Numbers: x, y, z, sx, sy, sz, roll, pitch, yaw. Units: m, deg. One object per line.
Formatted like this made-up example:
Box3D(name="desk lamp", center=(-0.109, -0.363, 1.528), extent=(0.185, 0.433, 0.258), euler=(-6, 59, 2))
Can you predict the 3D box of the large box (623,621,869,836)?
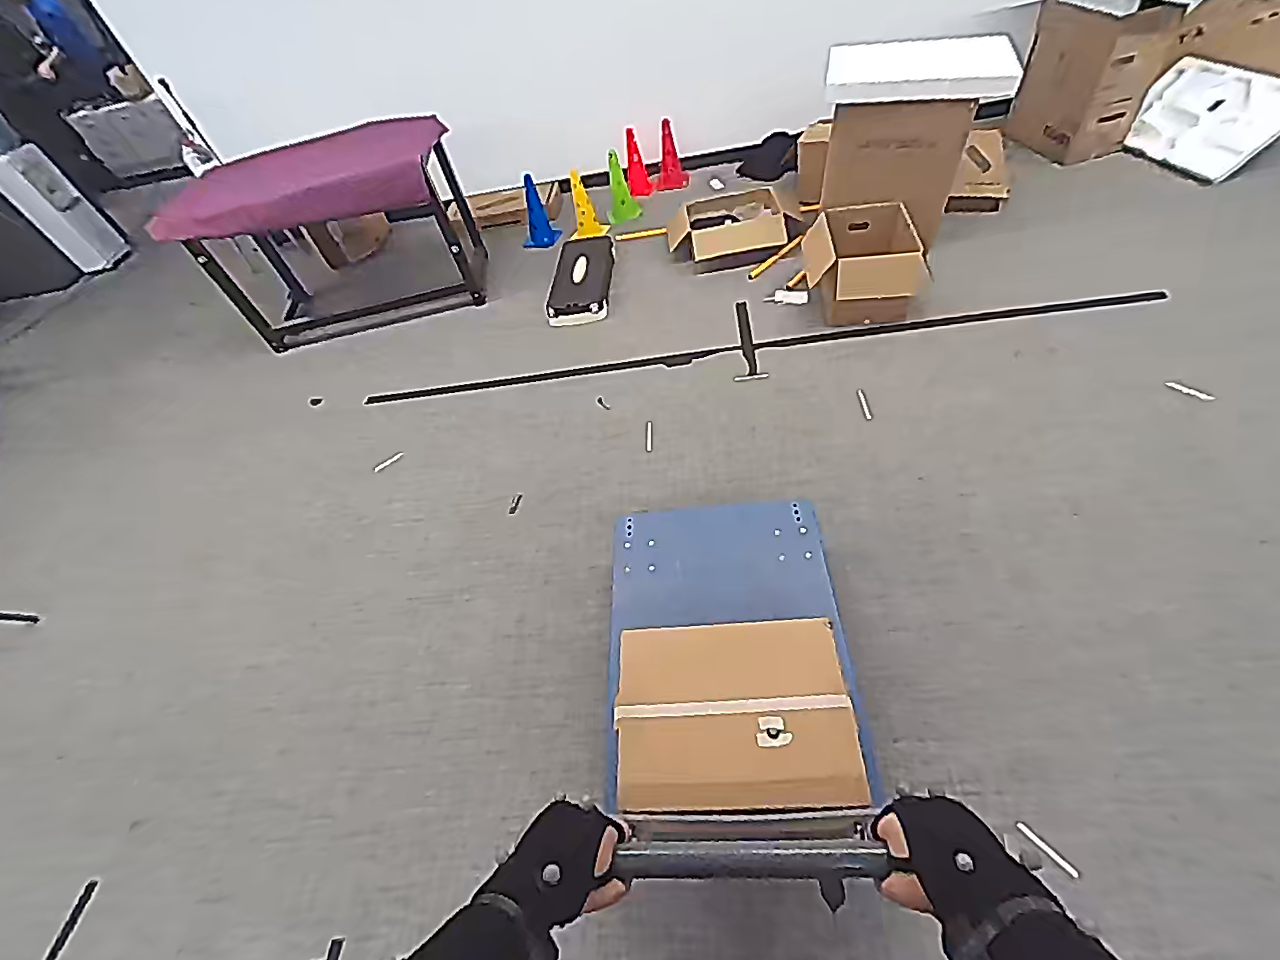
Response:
Box3D(name="large box", center=(0.186, 0.505, 1.082), extent=(0.408, 0.320, 0.320), euler=(-5, 51, 6))
